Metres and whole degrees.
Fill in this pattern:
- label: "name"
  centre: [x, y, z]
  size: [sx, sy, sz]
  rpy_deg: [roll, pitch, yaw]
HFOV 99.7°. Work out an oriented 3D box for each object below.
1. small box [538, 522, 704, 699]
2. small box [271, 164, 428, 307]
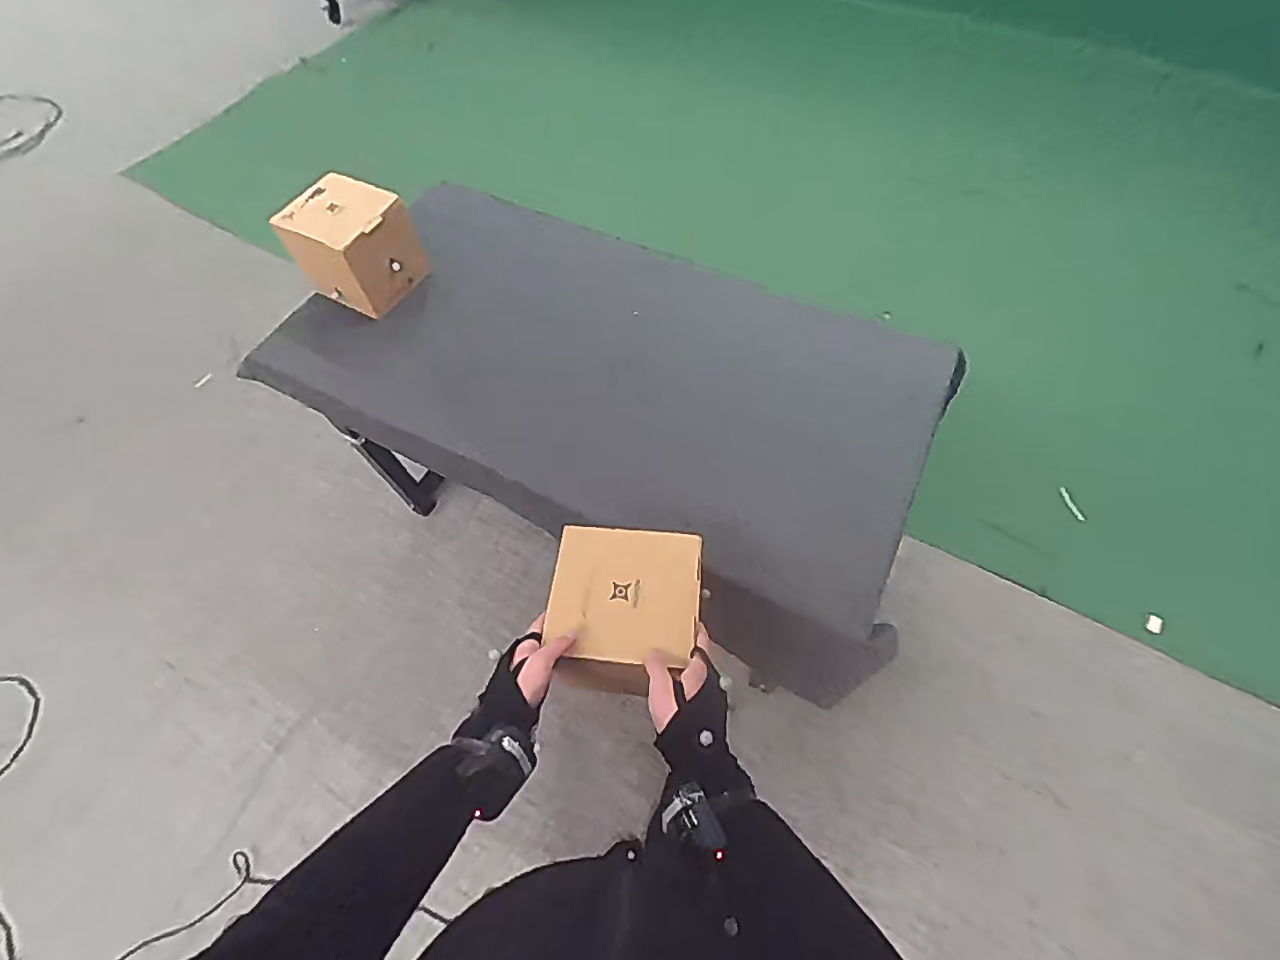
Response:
- label: "small box"
  centre: [-0.013, 0.171, 0.688]
  size: [0.179, 0.176, 0.168]
  rpy_deg: [3, 55, 6]
- label: "small box"
  centre: [-0.545, -0.464, 1.046]
  size: [0.179, 0.176, 0.168]
  rpy_deg: [26, 64, 12]
